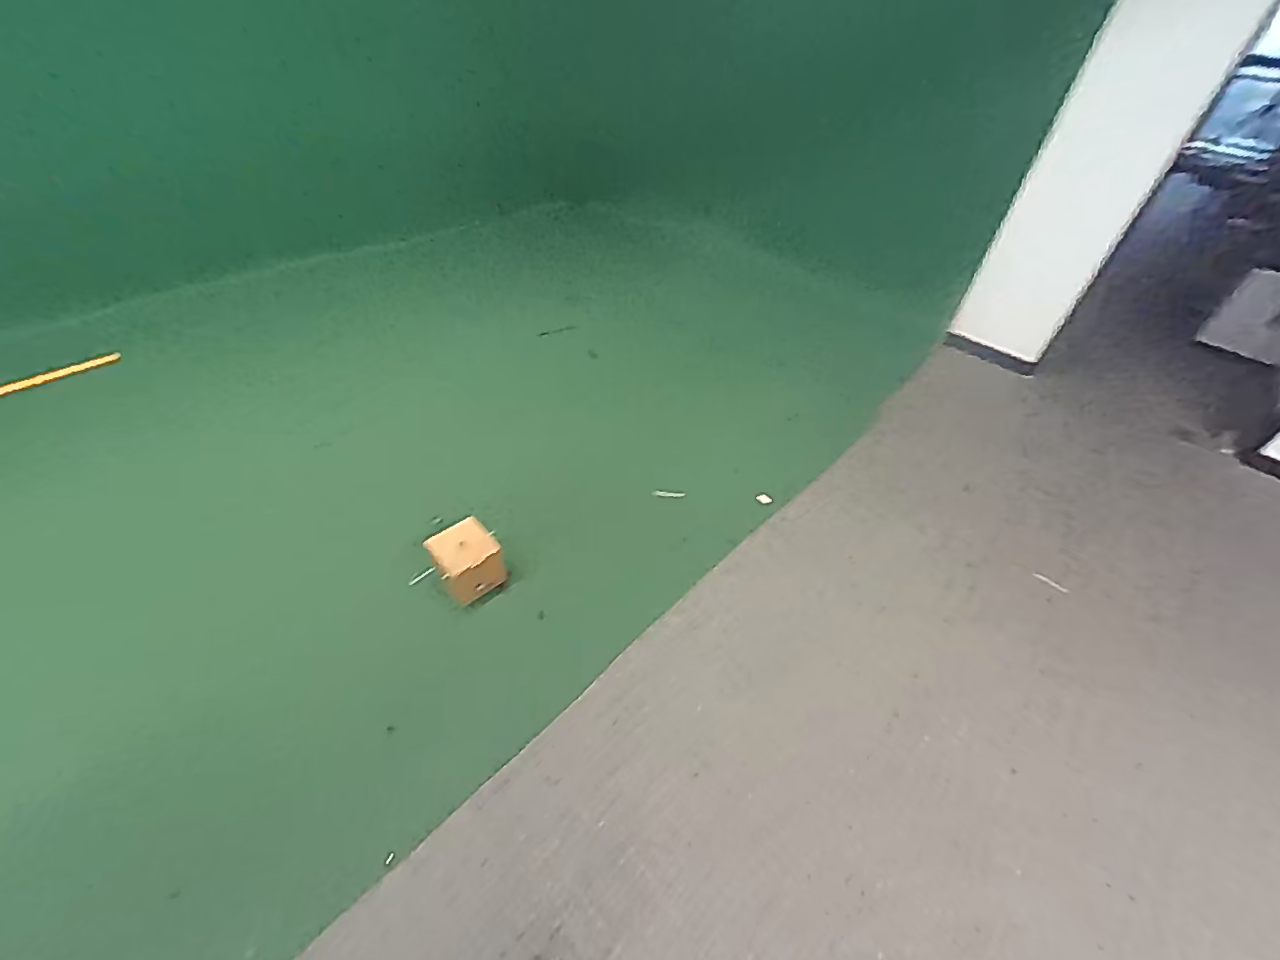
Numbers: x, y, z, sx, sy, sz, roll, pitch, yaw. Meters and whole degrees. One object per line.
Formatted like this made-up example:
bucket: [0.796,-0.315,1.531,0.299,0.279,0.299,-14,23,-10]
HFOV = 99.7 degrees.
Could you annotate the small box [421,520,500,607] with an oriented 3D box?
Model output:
small box: [-0.565,0.267,1.716,0.168,0.176,0.179,-32,56,-32]
